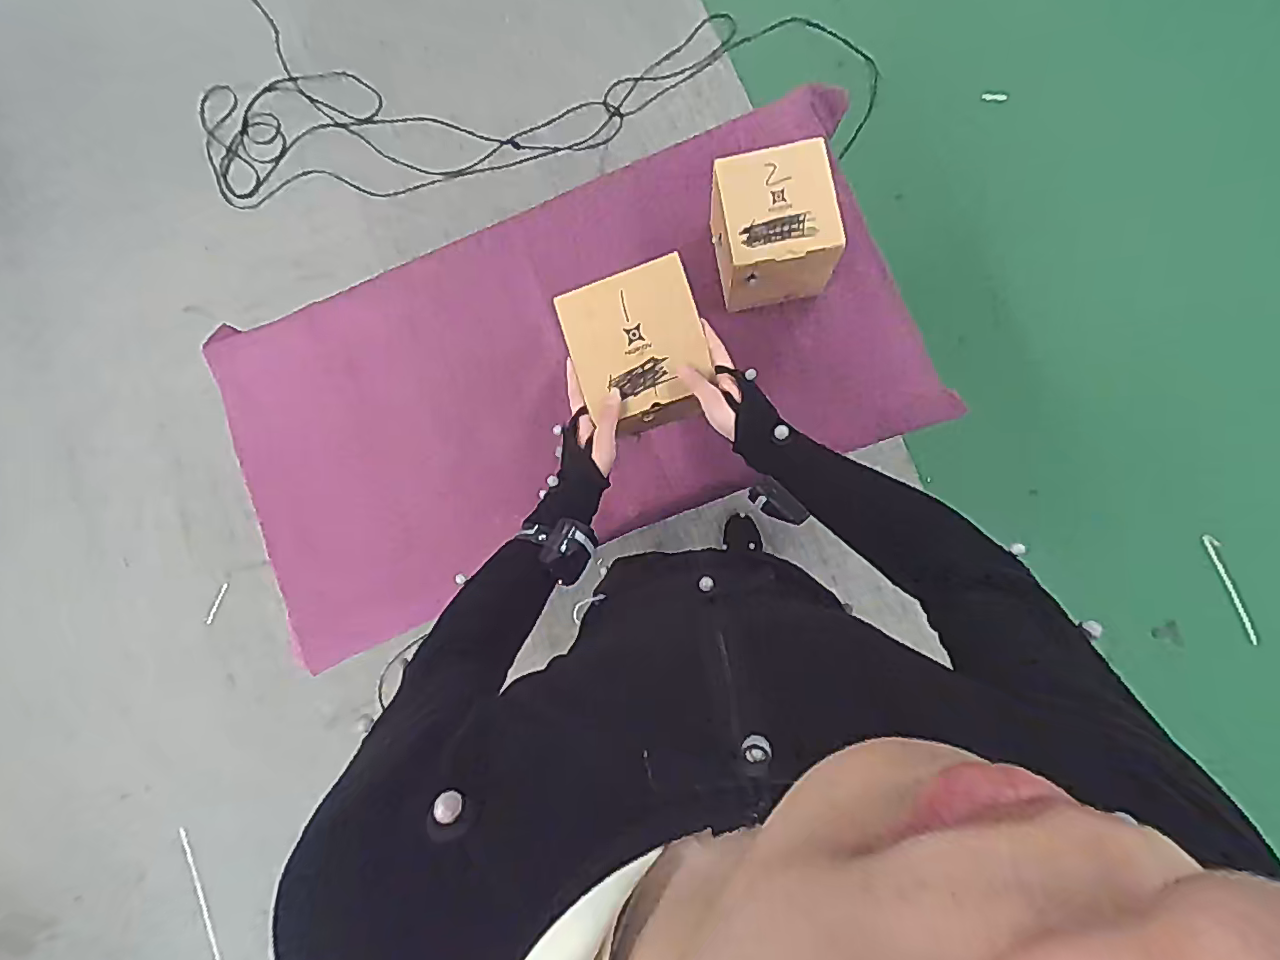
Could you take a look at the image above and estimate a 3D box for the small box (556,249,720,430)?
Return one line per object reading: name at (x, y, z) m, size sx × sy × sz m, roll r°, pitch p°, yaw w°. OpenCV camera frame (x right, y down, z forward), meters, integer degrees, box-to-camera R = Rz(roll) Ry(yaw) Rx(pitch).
small box at (0.008, -0.172, 0.731) m, size 0.168 × 0.176 × 0.179 m, roll -17°, pitch 87°, yaw 7°
